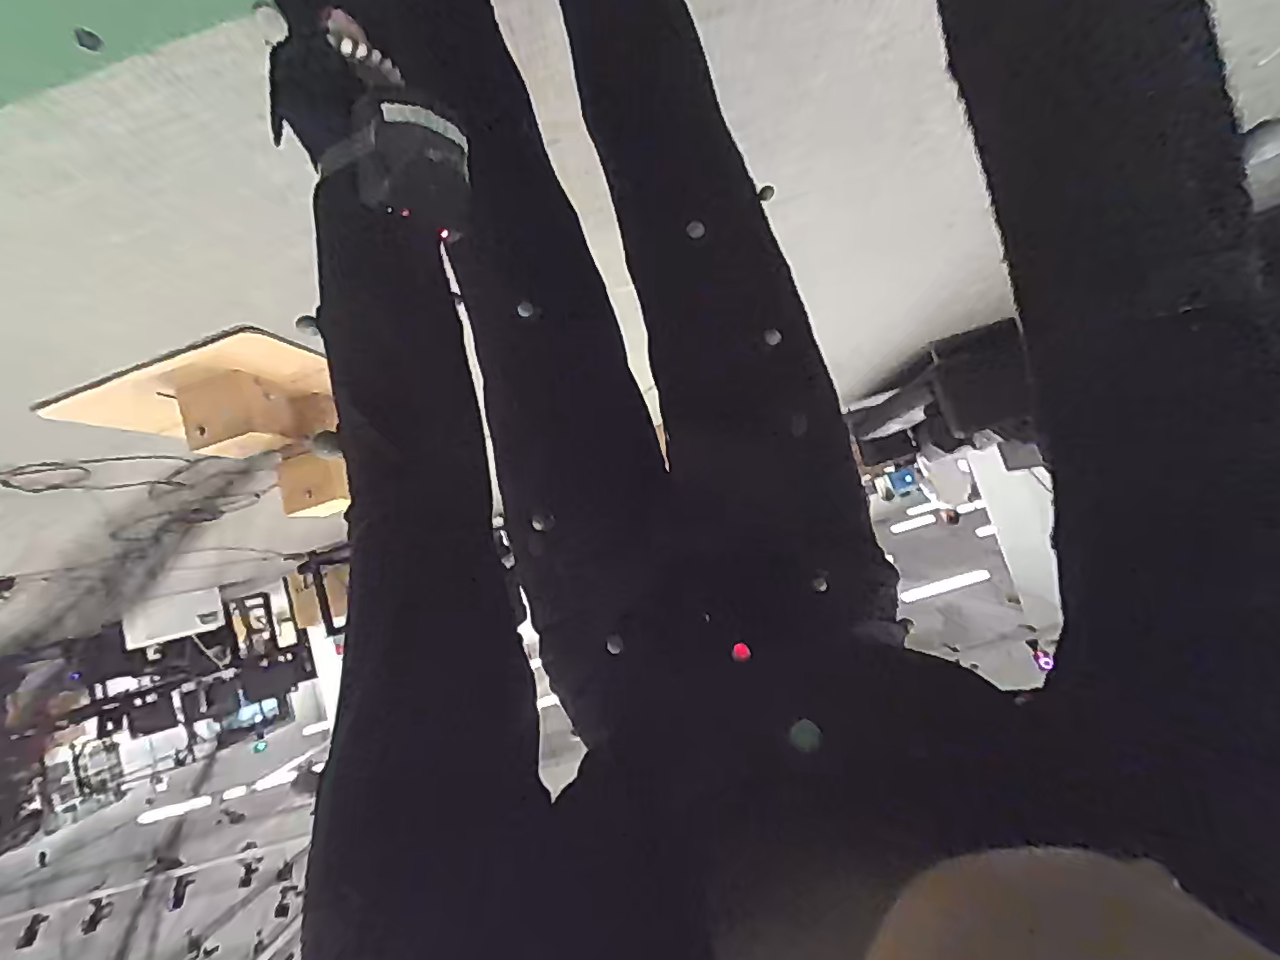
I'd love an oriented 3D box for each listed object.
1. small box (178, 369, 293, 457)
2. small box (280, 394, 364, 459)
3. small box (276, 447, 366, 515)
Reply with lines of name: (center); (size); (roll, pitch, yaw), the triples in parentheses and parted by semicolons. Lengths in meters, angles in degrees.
small box: (-1.065, -0.172, 1.423); (0.179, 0.176, 0.168); (-18, 176, 2)
small box: (-1.013, -0.159, 1.697); (0.179, 0.176, 0.168); (-18, 175, 8)
small box: (-0.993, 0.004, 1.681); (0.179, 0.176, 0.168); (-17, 174, 6)
